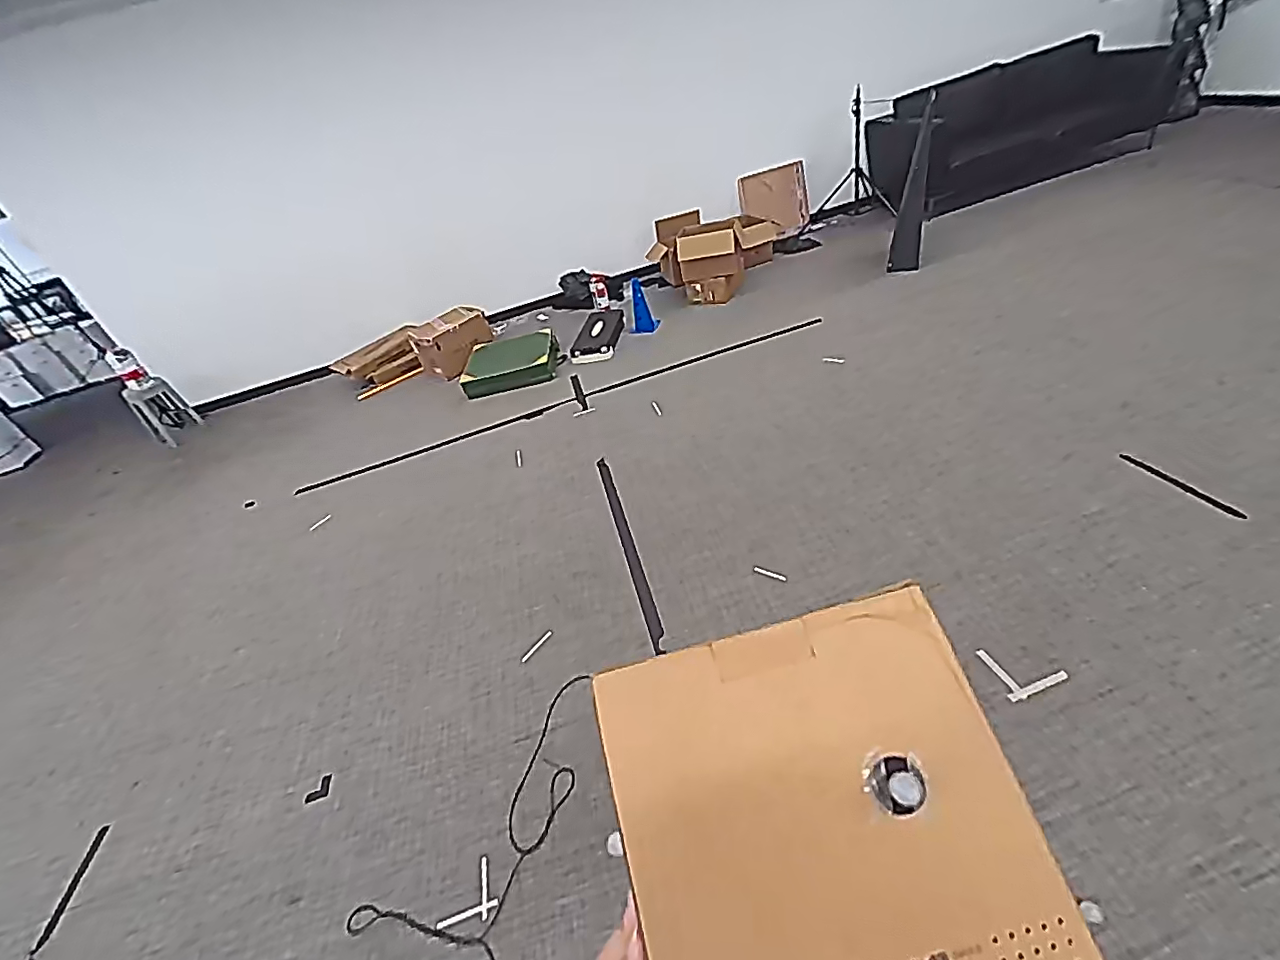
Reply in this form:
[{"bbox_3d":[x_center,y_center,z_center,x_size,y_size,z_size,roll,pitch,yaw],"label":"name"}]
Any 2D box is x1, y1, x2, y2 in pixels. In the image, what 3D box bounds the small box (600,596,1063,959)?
[{"bbox_3d":[0.088,0.186,0.317,0.168,0.179,0.176,-16,66,1],"label":"small box"}]
